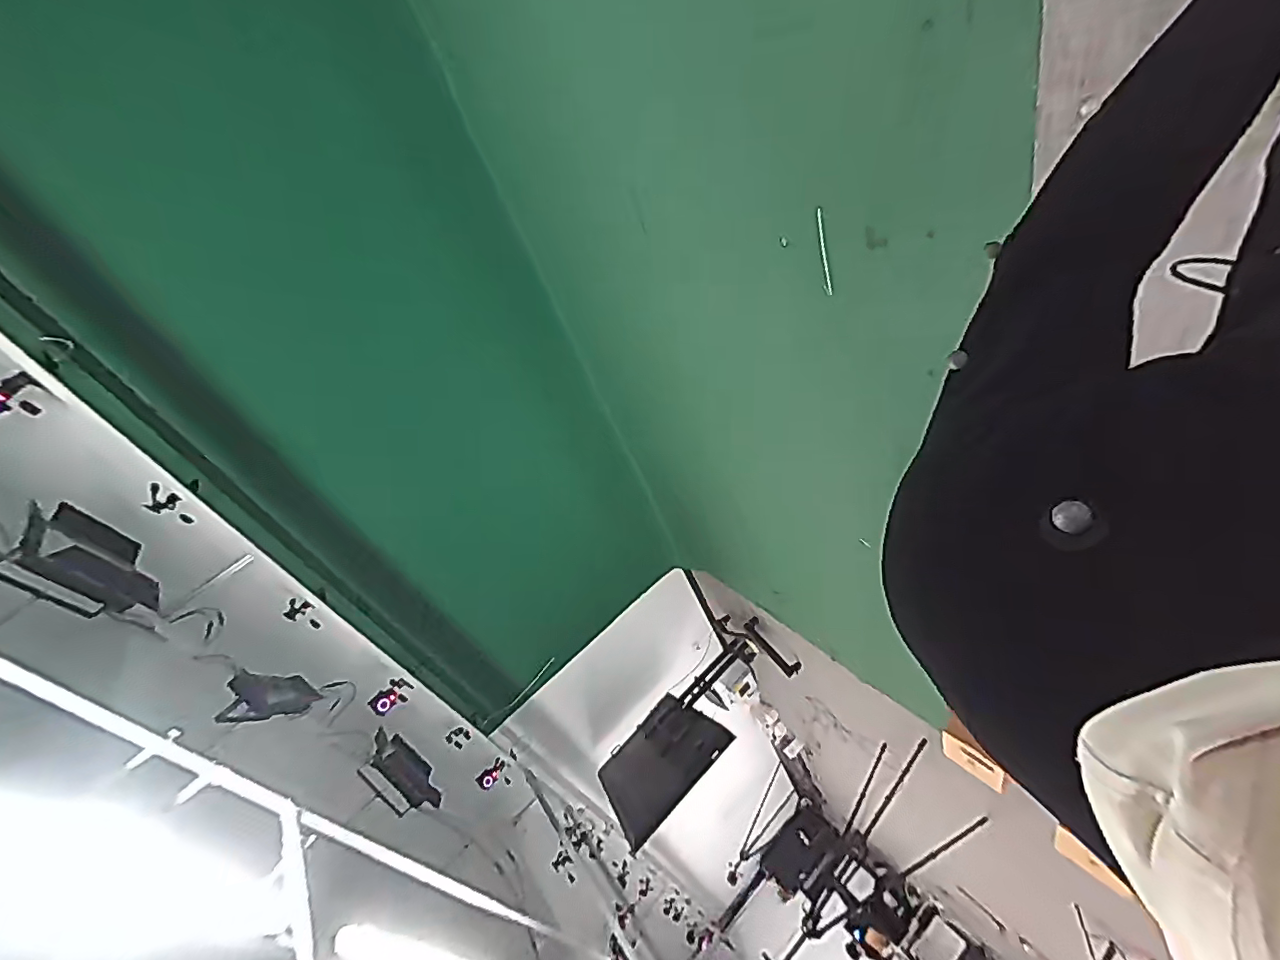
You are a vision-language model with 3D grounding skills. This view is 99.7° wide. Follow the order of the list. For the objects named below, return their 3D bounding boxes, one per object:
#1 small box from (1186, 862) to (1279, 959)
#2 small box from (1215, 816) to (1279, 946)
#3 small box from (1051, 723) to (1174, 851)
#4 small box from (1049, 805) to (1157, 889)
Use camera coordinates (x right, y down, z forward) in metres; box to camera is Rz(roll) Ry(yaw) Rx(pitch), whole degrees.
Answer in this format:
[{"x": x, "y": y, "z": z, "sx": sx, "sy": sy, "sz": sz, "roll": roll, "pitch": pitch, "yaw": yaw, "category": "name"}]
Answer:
[{"x": 1.383, "y": 1.007, "z": 1.211, "sx": 0.168, "sy": 0.176, "sz": 0.179, "roll": 28, "pitch": 153, "yaw": 49, "category": "small box"}, {"x": 1.276, "y": 0.801, "z": 1.045, "sx": 0.168, "sy": 0.176, "sz": 0.179, "roll": 27, "pitch": 152, "yaw": 50, "category": "small box"}, {"x": 1.113, "y": 0.721, "z": 1.280, "sx": 0.168, "sy": 0.176, "sz": 0.179, "roll": 28, "pitch": 152, "yaw": 49, "category": "small box"}, {"x": 1.218, "y": 0.916, "z": 1.425, "sx": 0.168, "sy": 0.176, "sz": 0.179, "roll": 26, "pitch": 149, "yaw": 50, "category": "small box"}]
